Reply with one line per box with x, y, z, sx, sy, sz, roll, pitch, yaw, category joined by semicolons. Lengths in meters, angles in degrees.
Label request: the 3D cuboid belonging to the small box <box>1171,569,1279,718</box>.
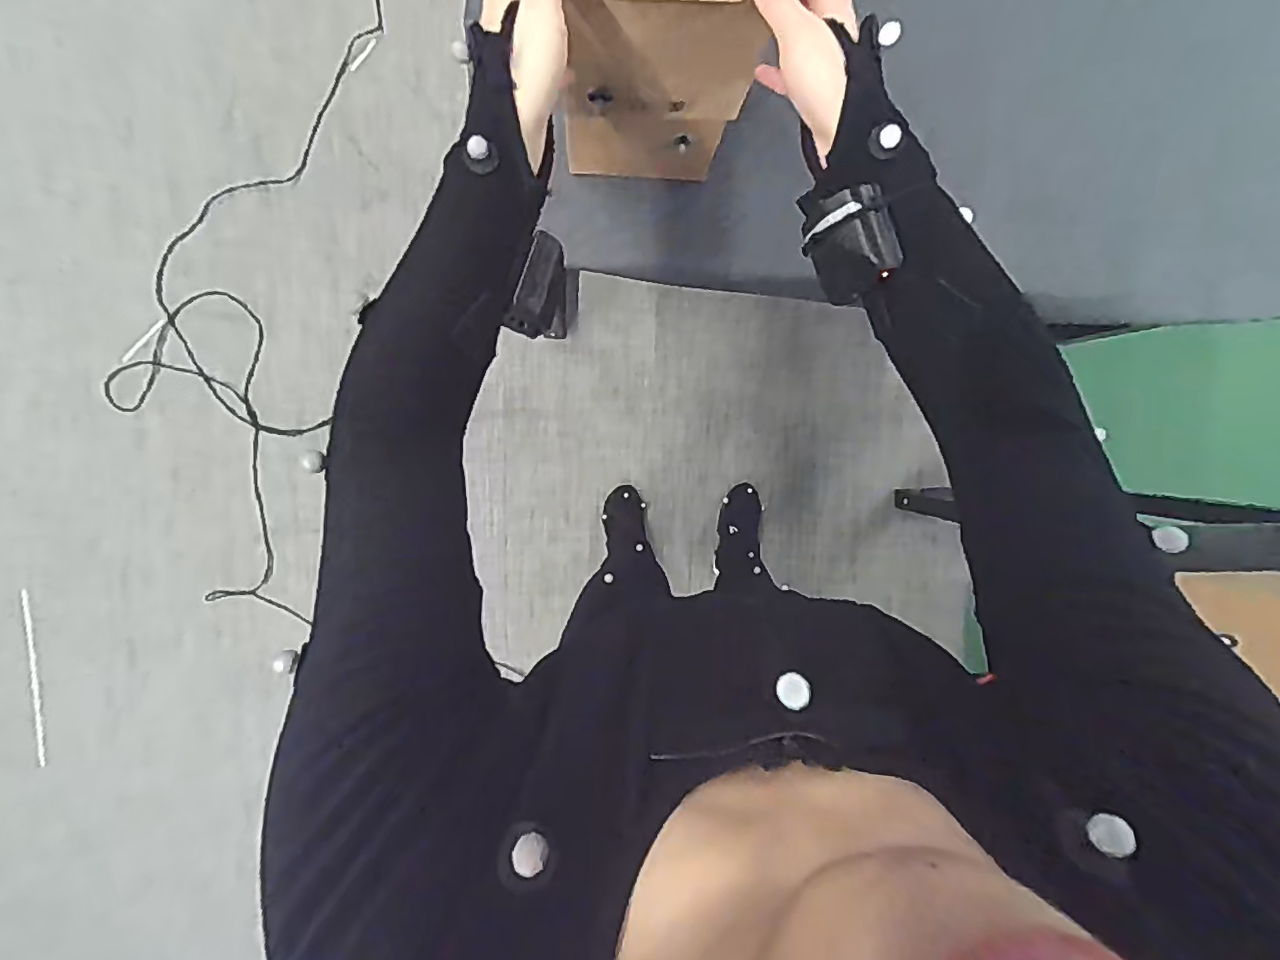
0.892;0.223;0.739;0.179;0.176;0.168;0;96;-5;small box

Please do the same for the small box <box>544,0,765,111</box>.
0.009;-0.423;0.421;0.168;0.176;0.179;-2;93;-4;small box

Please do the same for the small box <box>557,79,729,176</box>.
0.000;-0.467;0.608;0.179;0.176;0.168;0;93;-4;small box
